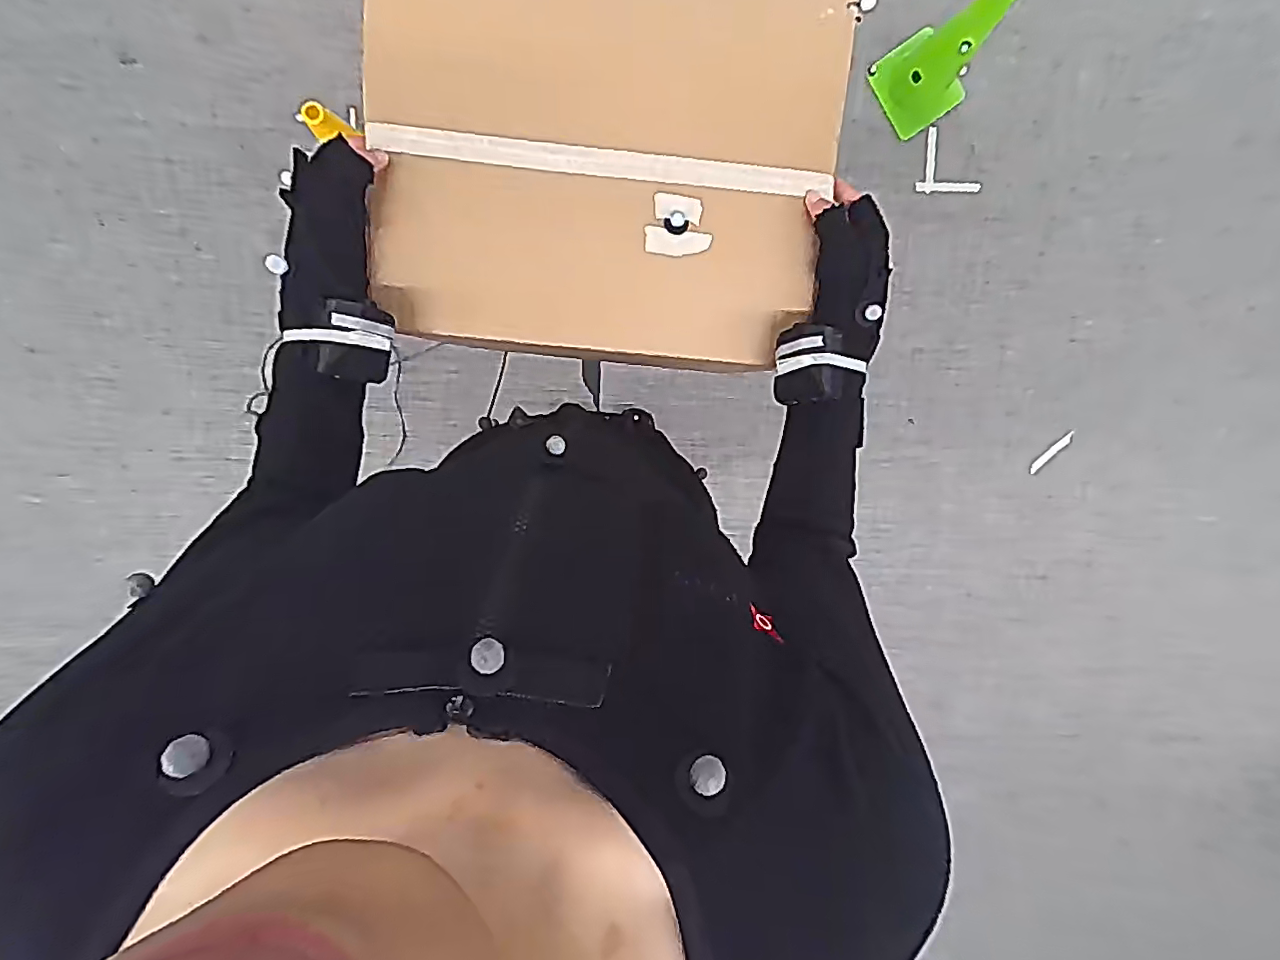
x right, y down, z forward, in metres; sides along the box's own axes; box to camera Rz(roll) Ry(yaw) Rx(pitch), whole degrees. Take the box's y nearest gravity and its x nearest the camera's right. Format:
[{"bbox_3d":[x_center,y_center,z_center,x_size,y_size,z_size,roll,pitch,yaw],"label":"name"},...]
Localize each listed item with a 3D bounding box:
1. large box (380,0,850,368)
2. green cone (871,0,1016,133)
[{"bbox_3d":[-0.036,-0.304,0.623,0.408,0.320,0.320,4,101,-4],"label":"large box"},{"bbox_3d":[0.718,-0.987,1.195,0.202,0.368,0.200,-36,99,1],"label":"green cone"}]
